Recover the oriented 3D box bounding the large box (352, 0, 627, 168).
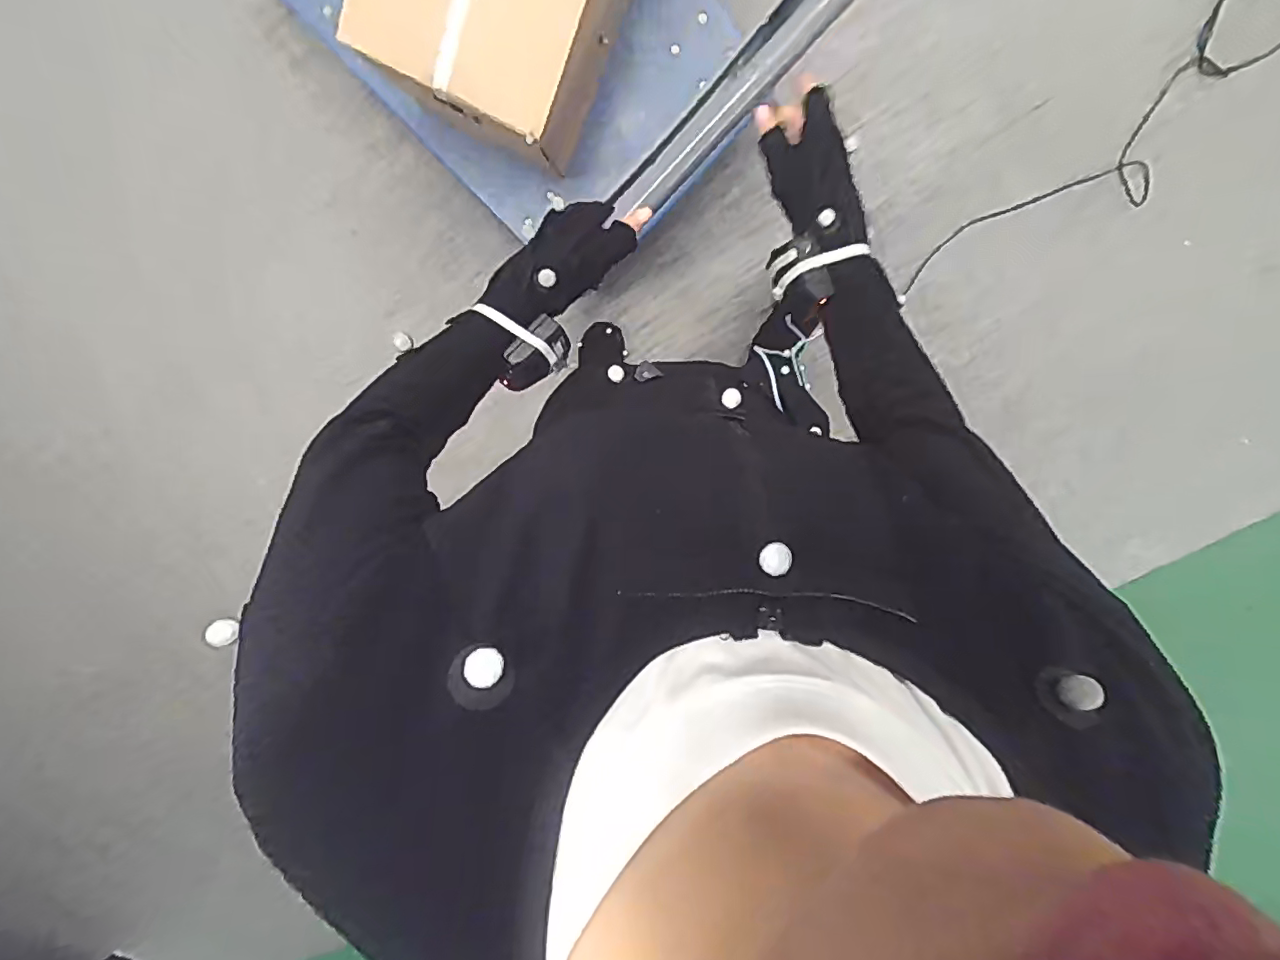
[{"bbox_3d":[-0.201,-0.799,0.872,0.320,0.320,0.408,23,110,-8],"label":"large box"}]
